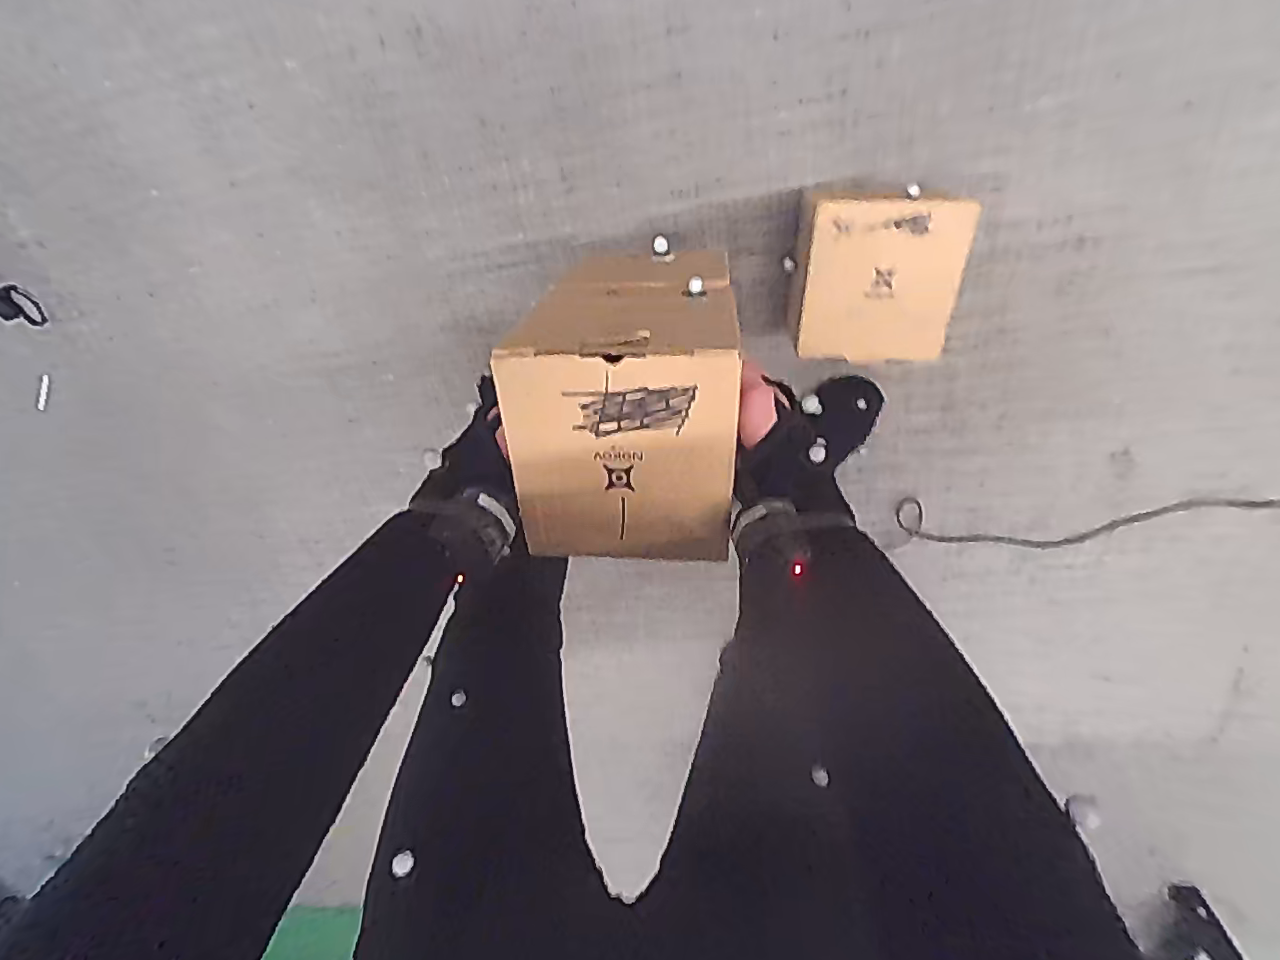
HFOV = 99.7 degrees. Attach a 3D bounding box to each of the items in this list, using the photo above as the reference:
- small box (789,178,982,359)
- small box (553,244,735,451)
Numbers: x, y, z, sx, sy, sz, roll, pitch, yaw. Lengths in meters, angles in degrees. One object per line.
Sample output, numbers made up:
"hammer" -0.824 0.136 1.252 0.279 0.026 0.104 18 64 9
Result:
"small box" 0.283 -0.267 0.672 0.168 0.176 0.179 4 124 7
"small box" 0.017 -0.147 0.588 0.168 0.176 0.179 0 122 8
